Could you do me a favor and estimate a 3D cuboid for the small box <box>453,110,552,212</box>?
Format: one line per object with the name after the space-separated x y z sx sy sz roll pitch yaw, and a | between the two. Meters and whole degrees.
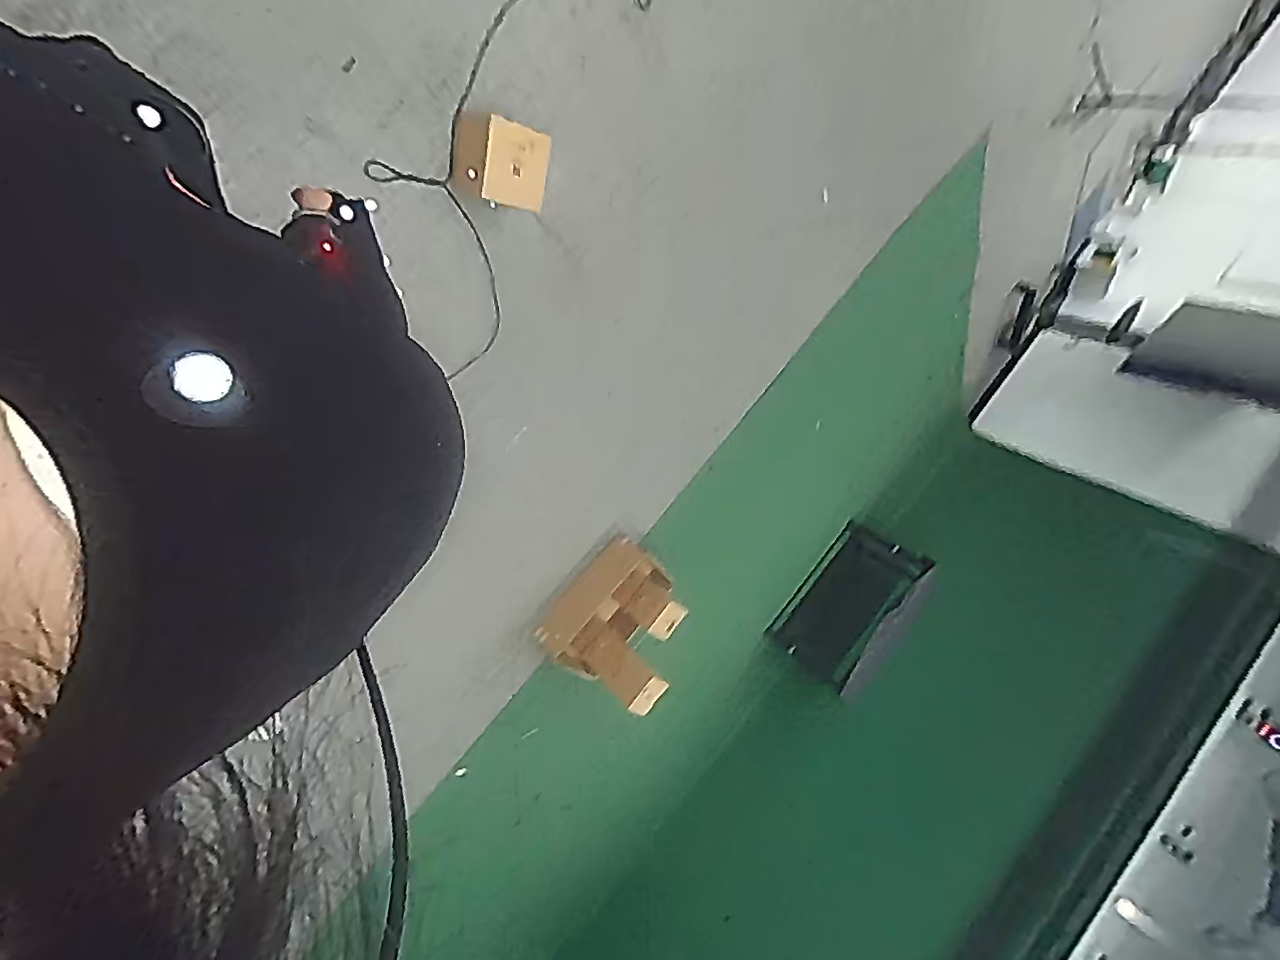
-0.344 -0.782 1.330 0.168 0.176 0.179 -9 123 -43 | small box

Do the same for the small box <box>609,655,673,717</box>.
0.003 0.860 2.266 0.168 0.176 0.179 -50 141 -8 | small box

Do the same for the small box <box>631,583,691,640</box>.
0.093 0.586 2.423 0.168 0.176 0.179 -52 139 -2 | small box

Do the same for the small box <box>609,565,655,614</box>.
-0.010 0.524 2.536 0.168 0.176 0.179 -51 140 -4 | small box

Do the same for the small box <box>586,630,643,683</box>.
-0.103 0.789 2.370 0.168 0.176 0.179 -48 139 -10 | small box
